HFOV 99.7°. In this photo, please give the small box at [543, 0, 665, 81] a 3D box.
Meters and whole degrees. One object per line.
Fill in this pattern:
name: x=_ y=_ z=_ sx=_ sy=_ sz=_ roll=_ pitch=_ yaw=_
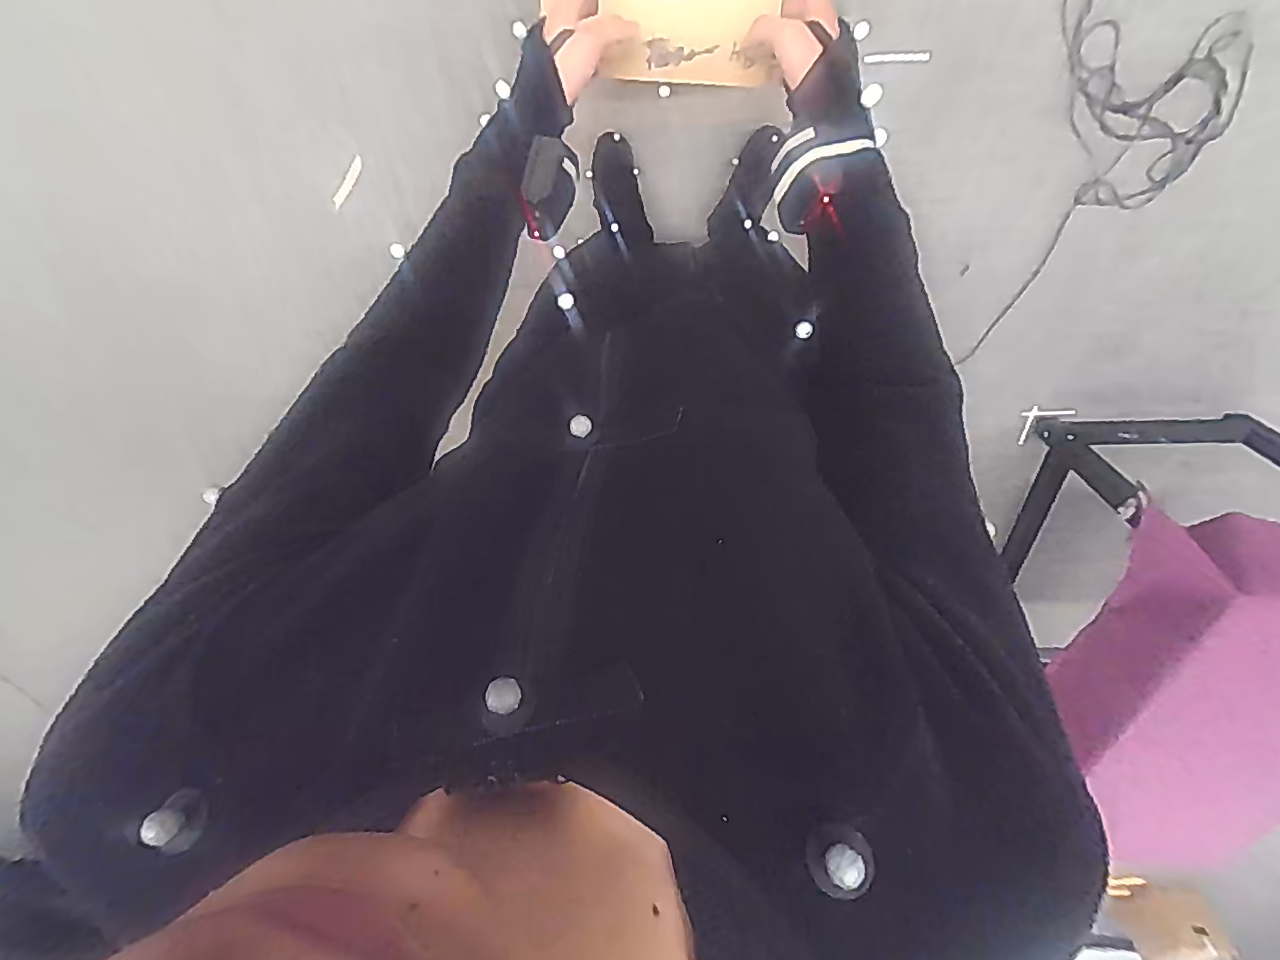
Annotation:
small box: x=-0.050 y=-0.734 z=0.831 sx=0.168 sy=0.176 sz=0.179 roll=8 pitch=125 yaw=1
